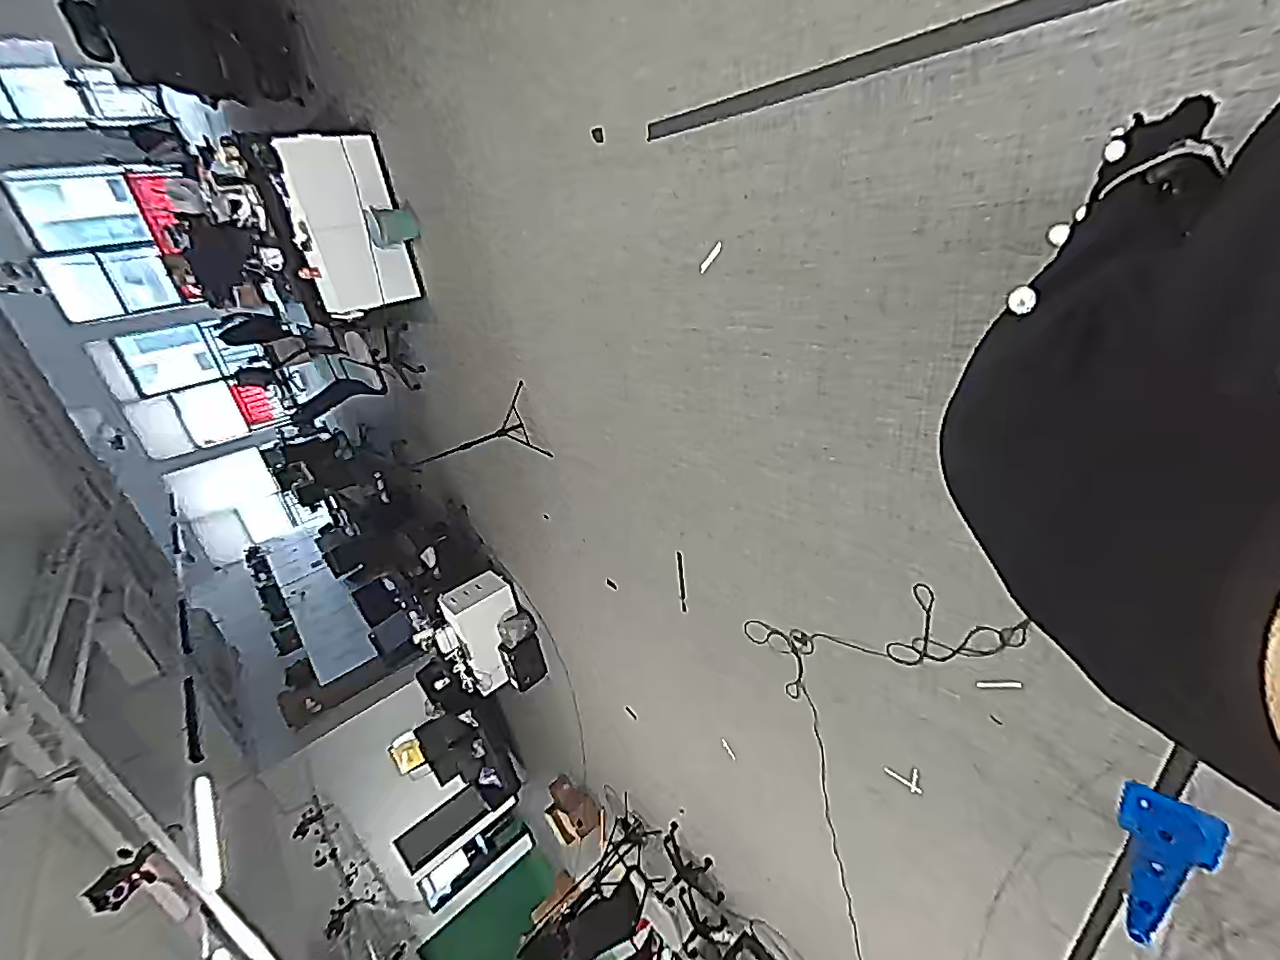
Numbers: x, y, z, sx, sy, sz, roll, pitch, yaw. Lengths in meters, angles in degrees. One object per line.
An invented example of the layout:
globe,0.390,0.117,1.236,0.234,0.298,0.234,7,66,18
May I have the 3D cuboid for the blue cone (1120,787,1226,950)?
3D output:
blue cone,1.302,0.994,1.360,0.192,0.380,0.193,17,127,46
